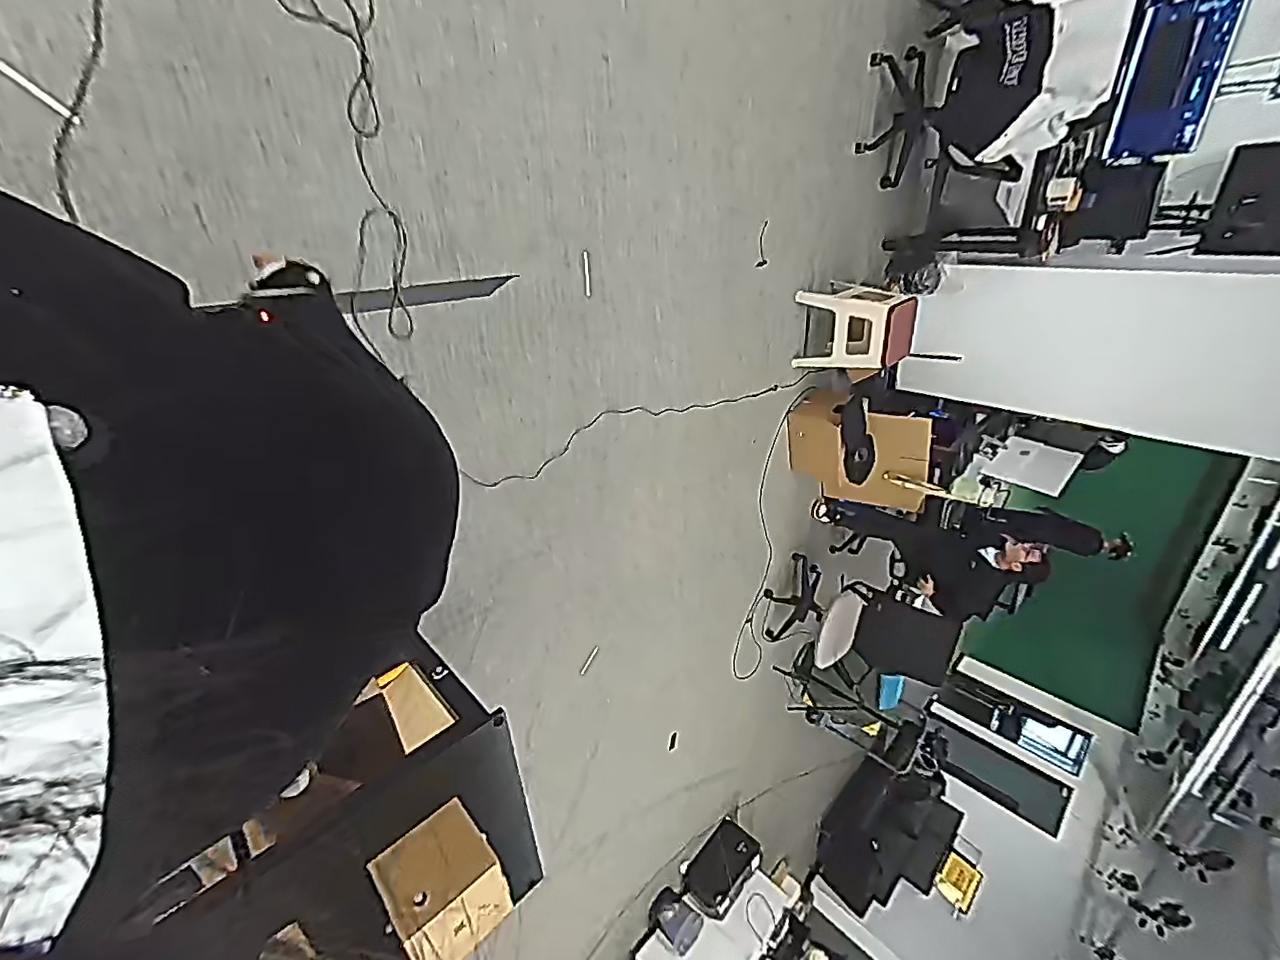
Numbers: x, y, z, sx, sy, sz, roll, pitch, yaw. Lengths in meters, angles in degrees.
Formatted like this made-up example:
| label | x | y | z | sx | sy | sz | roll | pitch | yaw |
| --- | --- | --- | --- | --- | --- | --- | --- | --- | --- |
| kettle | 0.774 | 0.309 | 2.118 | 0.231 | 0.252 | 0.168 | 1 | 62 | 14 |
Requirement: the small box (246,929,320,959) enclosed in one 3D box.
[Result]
| label | x | y | z | sx | sy | sz | roll | pitch | yaw |
| --- | --- | --- | --- | --- | --- | --- | --- | --- | --- |
| small box | -0.569 | 0.859 | 0.833 | 0.168 | 0.176 | 0.179 | -25 | 124 | -38 |

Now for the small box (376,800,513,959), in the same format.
| label | x | y | z | sx | sy | sz | roll | pitch | yaw |
| --- | --- | --- | --- | --- | --- | --- | --- | --- | --- |
| small box | -0.365 | 0.752 | 1.000 | 0.179 | 0.176 | 0.168 | -27 | 126 | -37 |
